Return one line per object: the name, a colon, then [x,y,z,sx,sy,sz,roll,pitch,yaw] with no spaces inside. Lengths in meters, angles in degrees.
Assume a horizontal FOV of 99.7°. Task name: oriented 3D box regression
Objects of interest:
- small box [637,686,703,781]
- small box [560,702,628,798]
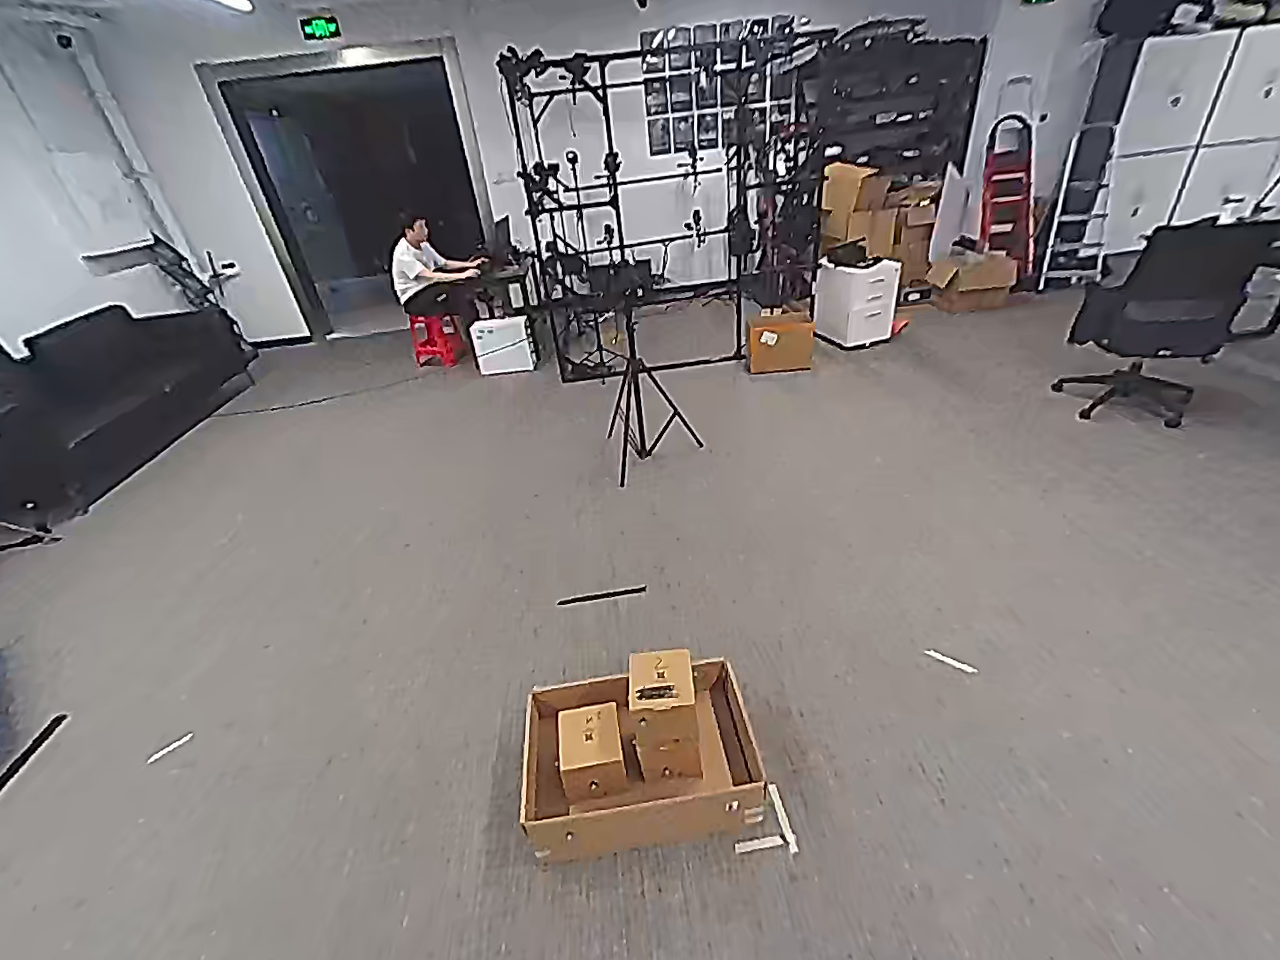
small box: [0.083,0.716,1.529,0.168,0.176,0.179,-8,33,2]
small box: [-0.129,0.754,1.500,0.168,0.176,0.179,-7,32,-6]
